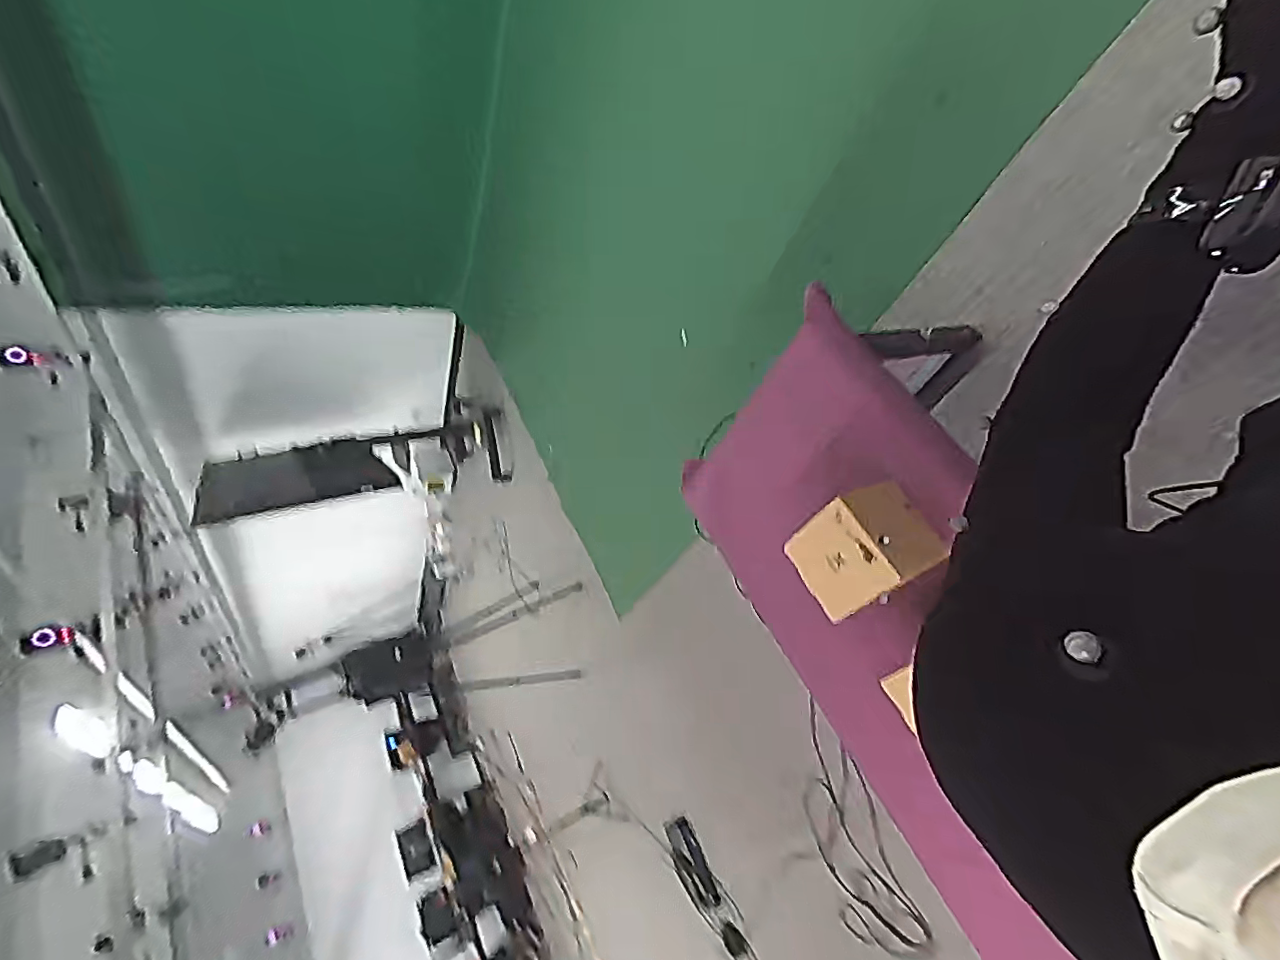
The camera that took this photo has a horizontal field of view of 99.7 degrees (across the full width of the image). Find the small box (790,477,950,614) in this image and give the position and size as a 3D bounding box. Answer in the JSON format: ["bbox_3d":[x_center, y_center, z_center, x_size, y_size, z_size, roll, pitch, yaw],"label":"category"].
[{"bbox_3d":[0.421,0.118,0.999,0.168,0.176,0.179,59,144,24],"label":"small box"}]
